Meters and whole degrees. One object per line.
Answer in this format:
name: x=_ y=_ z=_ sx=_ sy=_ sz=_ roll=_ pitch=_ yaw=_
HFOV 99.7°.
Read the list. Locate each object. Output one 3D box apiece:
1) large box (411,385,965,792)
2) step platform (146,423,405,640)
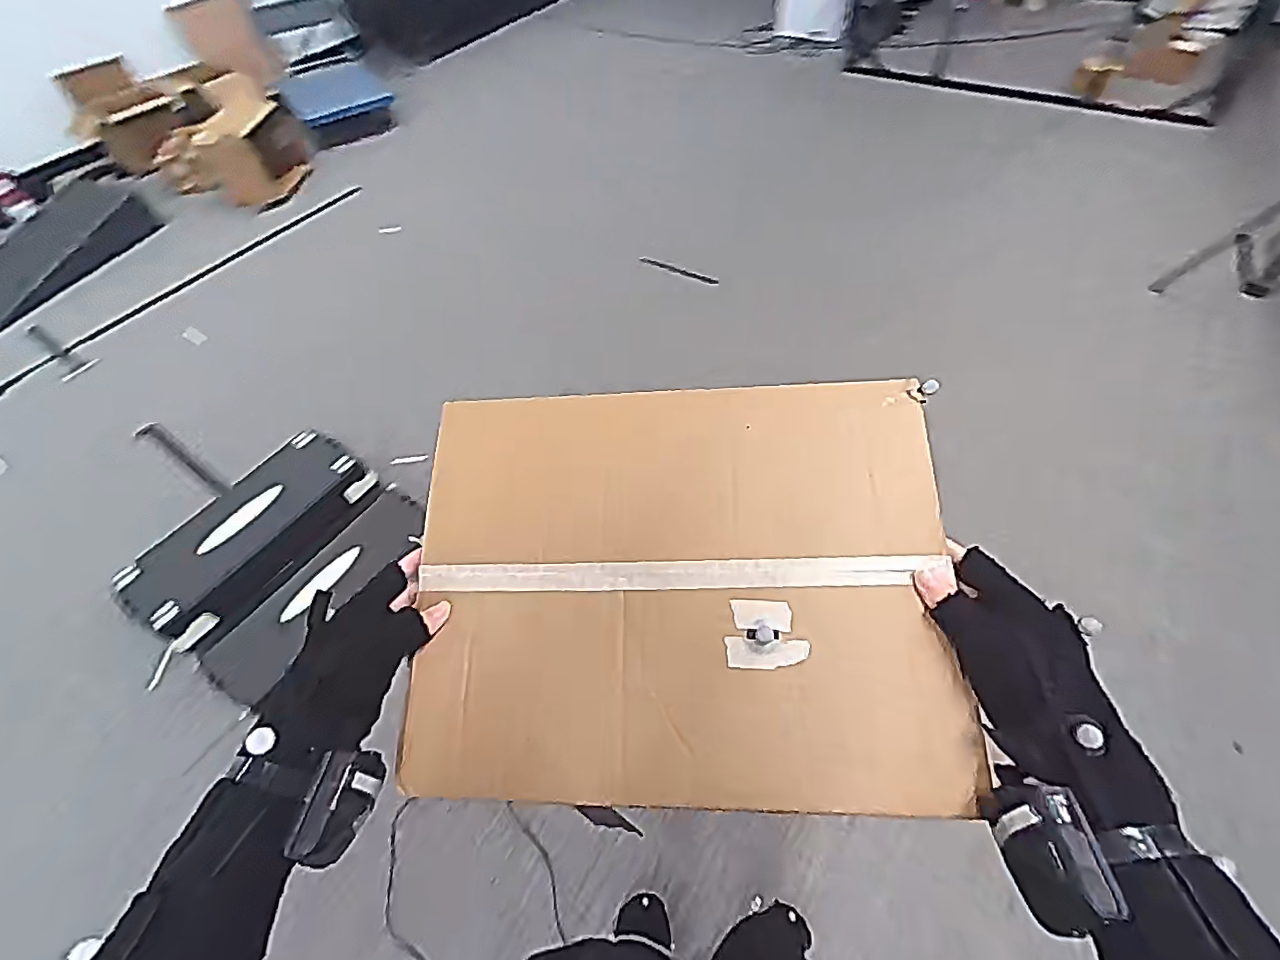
large box: x=0.036 y=0.122 z=0.570 sx=0.408 sy=0.320 sz=0.320 roll=-3 pitch=72 yaw=6
step platform: x=-1.082 y=0.132 z=1.652 sx=0.286 sy=0.204 sz=0.684 roll=27 pitch=60 yaw=22
